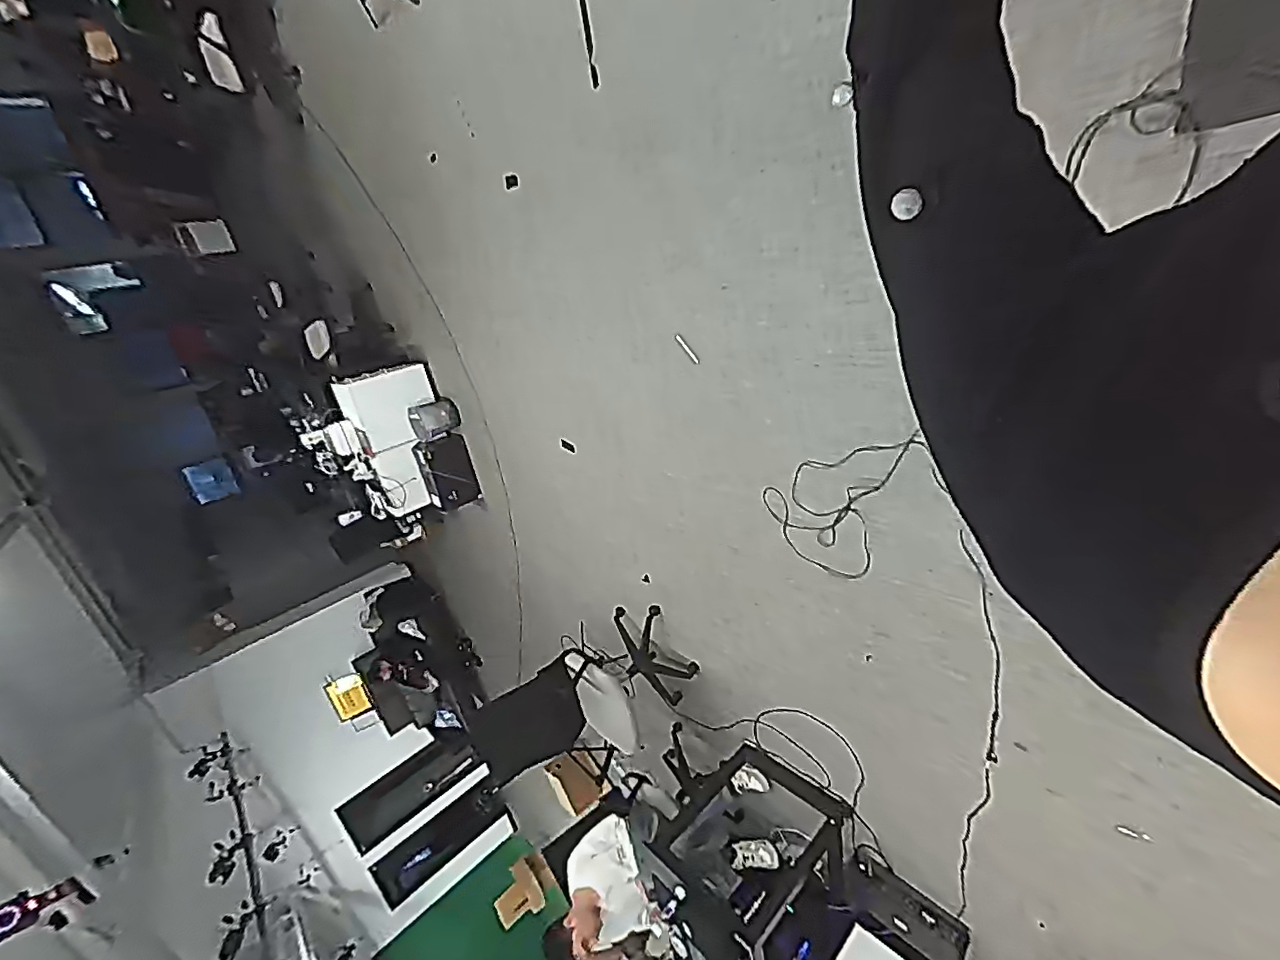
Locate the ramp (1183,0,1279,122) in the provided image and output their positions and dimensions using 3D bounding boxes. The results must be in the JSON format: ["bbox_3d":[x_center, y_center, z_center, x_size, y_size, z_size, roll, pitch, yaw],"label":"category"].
[{"bbox_3d":[0.968,-1.008,0.555,0.509,0.206,0.991,10,121,47],"label":"ramp"}]
